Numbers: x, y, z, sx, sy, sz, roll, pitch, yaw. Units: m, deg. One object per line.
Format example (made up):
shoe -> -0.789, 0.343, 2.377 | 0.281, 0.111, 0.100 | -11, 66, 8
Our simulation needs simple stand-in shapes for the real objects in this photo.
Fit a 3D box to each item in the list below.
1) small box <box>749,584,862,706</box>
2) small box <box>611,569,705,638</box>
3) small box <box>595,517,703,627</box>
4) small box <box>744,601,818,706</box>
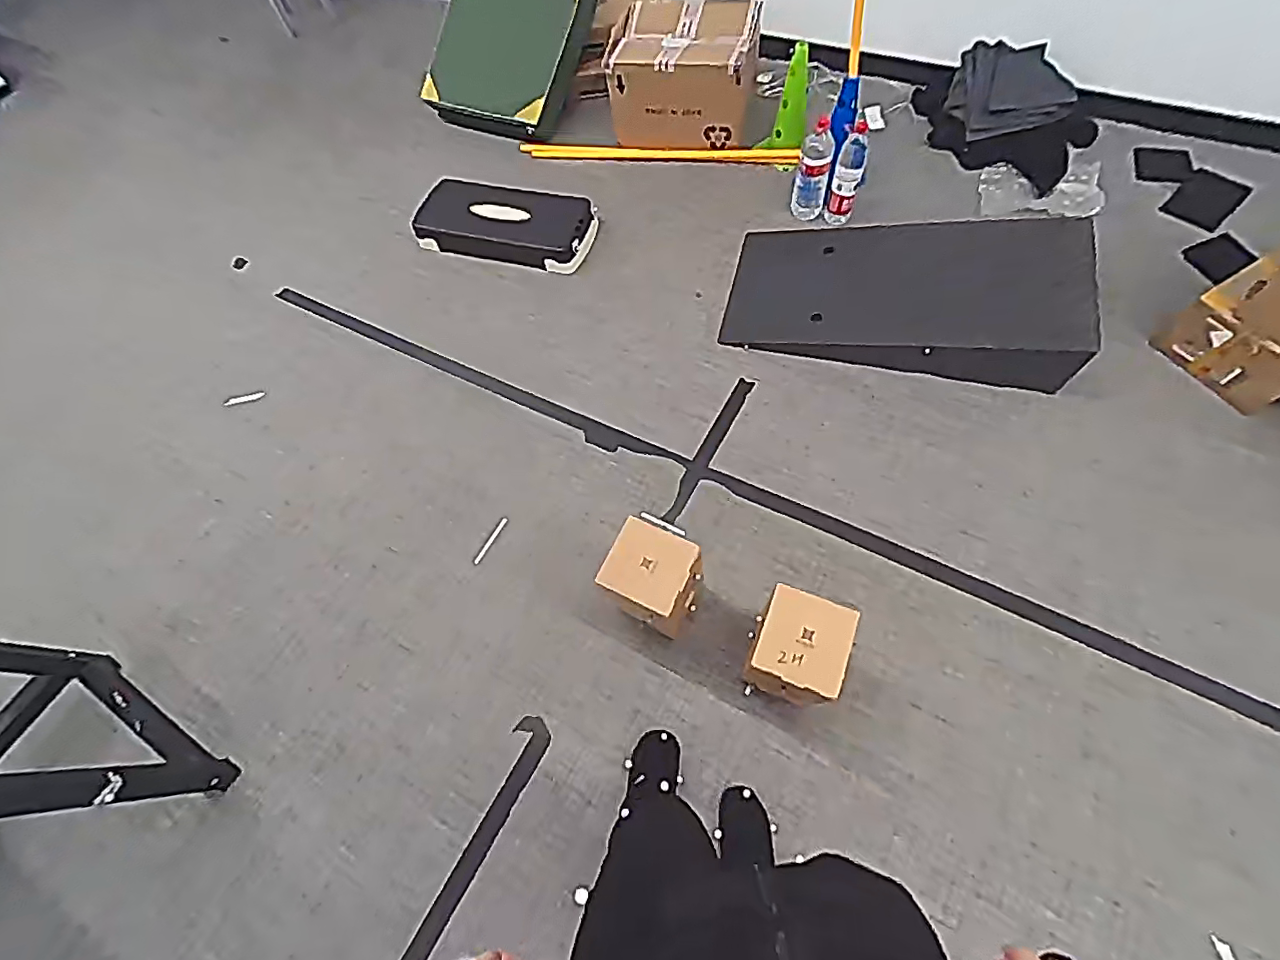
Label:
small box -> 0.326, 0.337, 1.094 | 0.168, 0.176, 0.179 | 19, 69, 15
small box -> 0.048, 0.275, 1.336 | 0.179, 0.176, 0.168 | 25, 71, 16
small box -> 0.028, 0.209, 1.187 | 0.179, 0.176, 0.168 | 23, 70, 17
small box -> 0.343, 0.405, 1.243 | 0.168, 0.176, 0.179 | 18, 68, 14
